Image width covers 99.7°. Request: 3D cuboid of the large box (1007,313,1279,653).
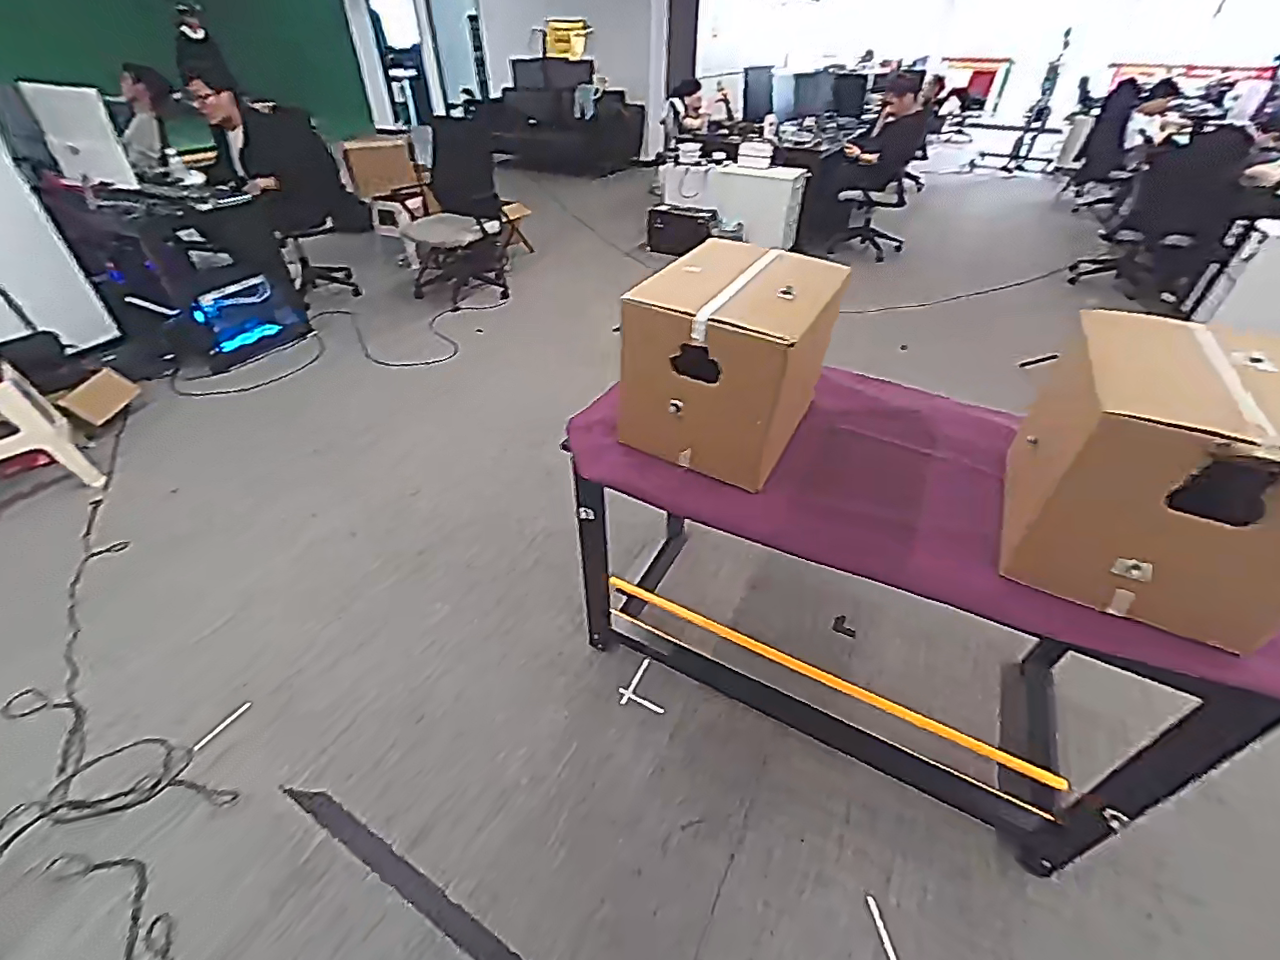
[{"bbox_3d":[0.804,-0.021,0.840,0.320,0.320,0.408,20,42,21],"label":"large box"}]
